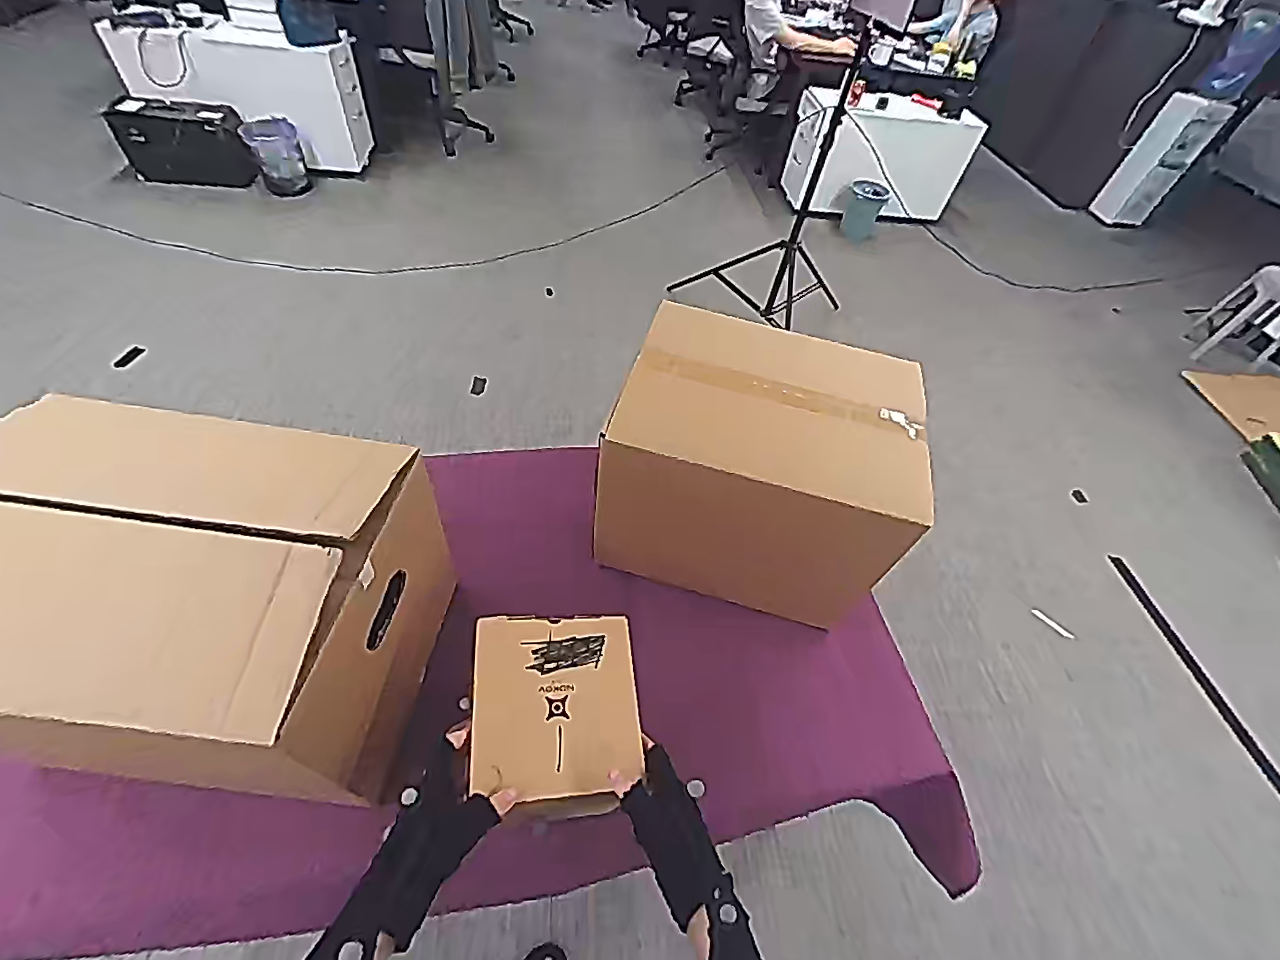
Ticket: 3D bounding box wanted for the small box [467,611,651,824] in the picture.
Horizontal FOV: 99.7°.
[{"bbox_3d":[-0.099,0.261,0.598,0.168,0.176,0.179,4,52,-17],"label":"small box"}]
